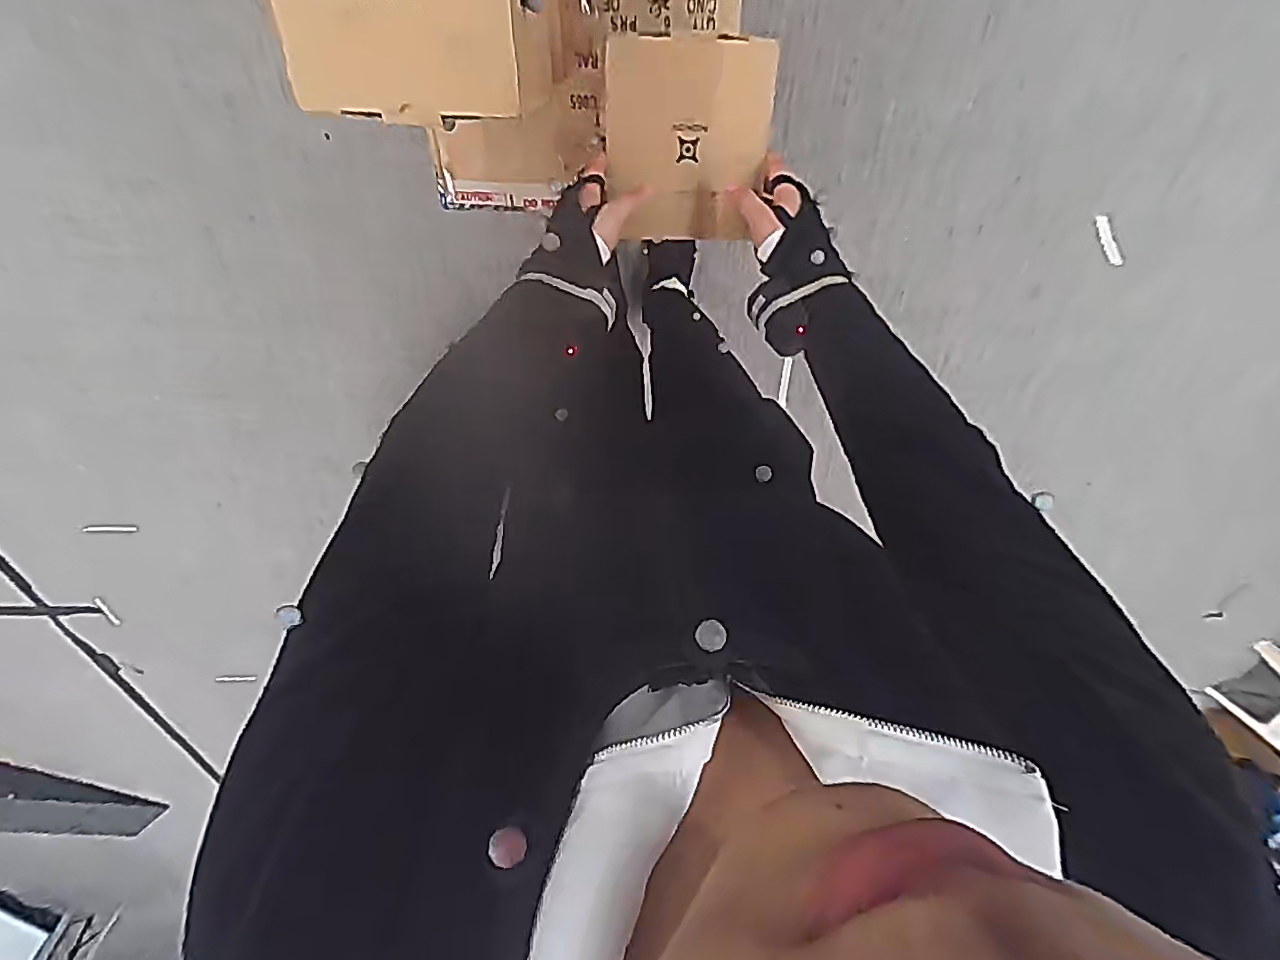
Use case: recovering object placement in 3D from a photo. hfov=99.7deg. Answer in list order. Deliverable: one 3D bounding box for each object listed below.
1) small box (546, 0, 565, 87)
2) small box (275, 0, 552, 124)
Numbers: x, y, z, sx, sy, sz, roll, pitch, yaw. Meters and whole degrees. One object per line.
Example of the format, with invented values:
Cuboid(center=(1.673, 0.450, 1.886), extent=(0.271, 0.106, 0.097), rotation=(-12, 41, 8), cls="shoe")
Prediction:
Cuboid(center=(-0.170, -0.500, 0.537), extent=(0.168, 0.176, 0.179), rotation=(0, 129, 0), cls="small box")
Cuboid(center=(-0.164, -0.390, 0.414), extent=(0.168, 0.176, 0.179), rotation=(1, 130, -1), cls="small box")
